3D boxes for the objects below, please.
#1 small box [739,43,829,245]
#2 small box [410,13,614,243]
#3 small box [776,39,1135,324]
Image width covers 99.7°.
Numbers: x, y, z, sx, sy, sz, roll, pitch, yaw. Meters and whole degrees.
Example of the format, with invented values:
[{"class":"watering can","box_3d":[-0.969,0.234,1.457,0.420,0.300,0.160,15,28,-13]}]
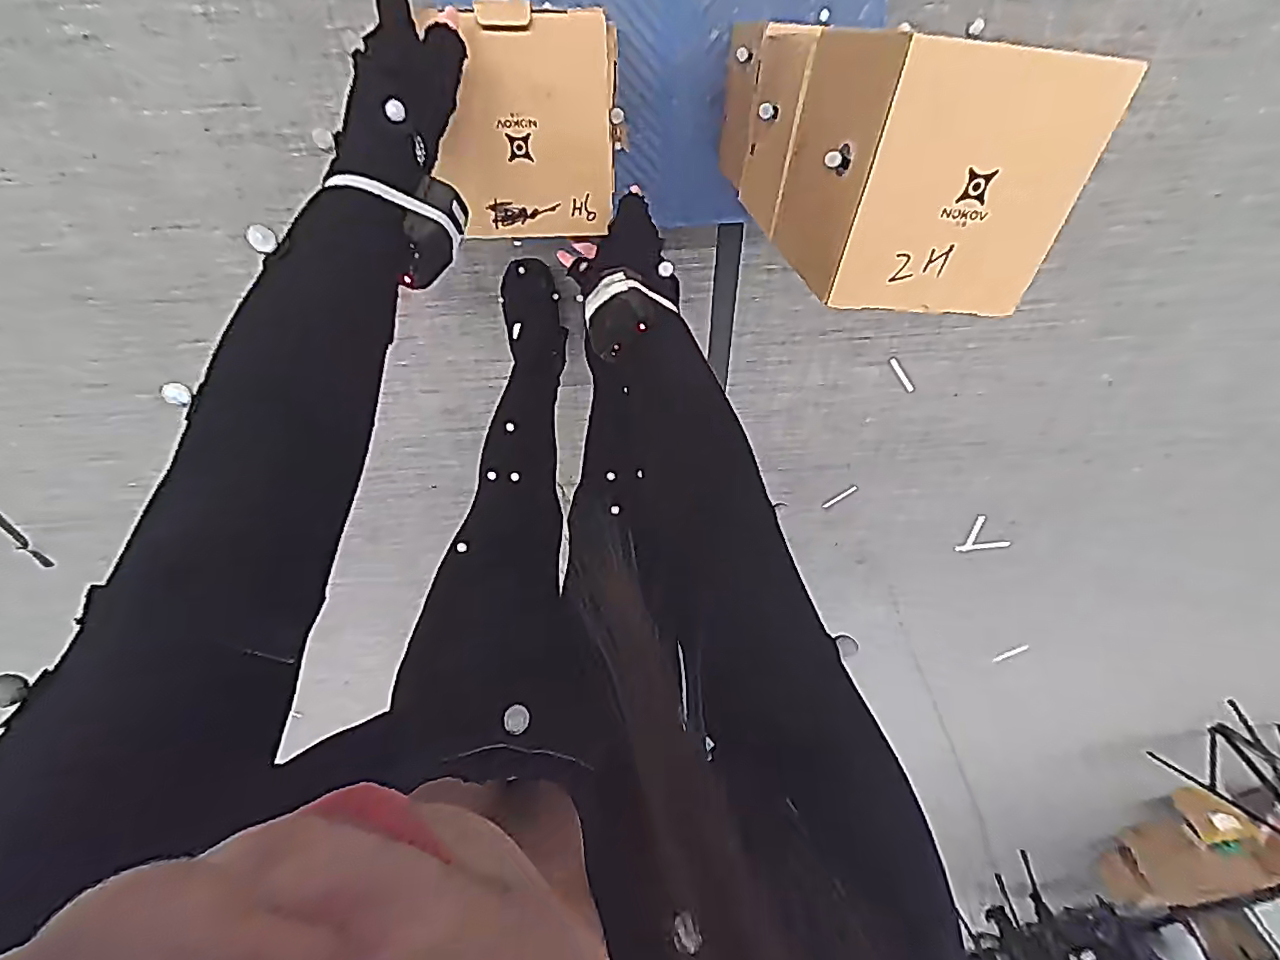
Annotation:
[{"class":"small box","box_3d":[0.217,-0.358,0.582,0.179,0.176,0.168,0,131,-7]},{"class":"small box","box_3d":[-0.113,-0.356,0.551,0.168,0.176,0.179,-2,130,-3]},{"class":"small box","box_3d":[0.230,-0.252,0.456,0.168,0.176,0.179,2,131,-7]}]
